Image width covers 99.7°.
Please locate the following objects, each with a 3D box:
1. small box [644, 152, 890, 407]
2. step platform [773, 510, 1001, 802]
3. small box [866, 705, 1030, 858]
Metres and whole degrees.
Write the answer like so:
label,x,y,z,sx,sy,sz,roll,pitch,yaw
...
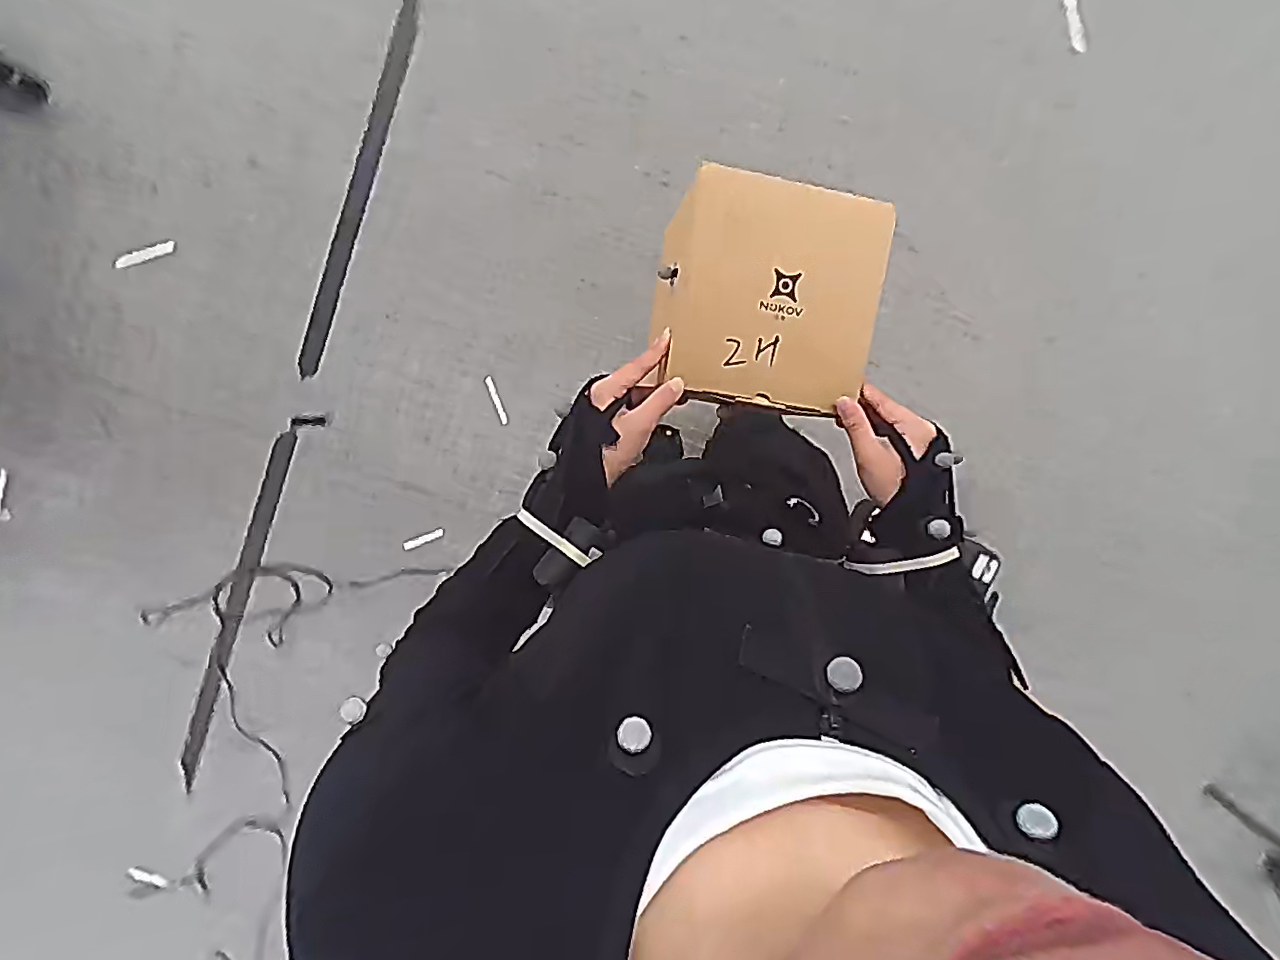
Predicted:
label,x,y,z,sx,sy,sz,roll,pitch,yaw
small box,0.100,-0.168,0.511,0.168,0.176,0.179,7,98,-7
step platform,0.594,0.431,1.335,0.286,0.204,0.684,20,96,-5
small box,0.562,0.552,1.012,0.179,0.176,0.168,18,98,-3
